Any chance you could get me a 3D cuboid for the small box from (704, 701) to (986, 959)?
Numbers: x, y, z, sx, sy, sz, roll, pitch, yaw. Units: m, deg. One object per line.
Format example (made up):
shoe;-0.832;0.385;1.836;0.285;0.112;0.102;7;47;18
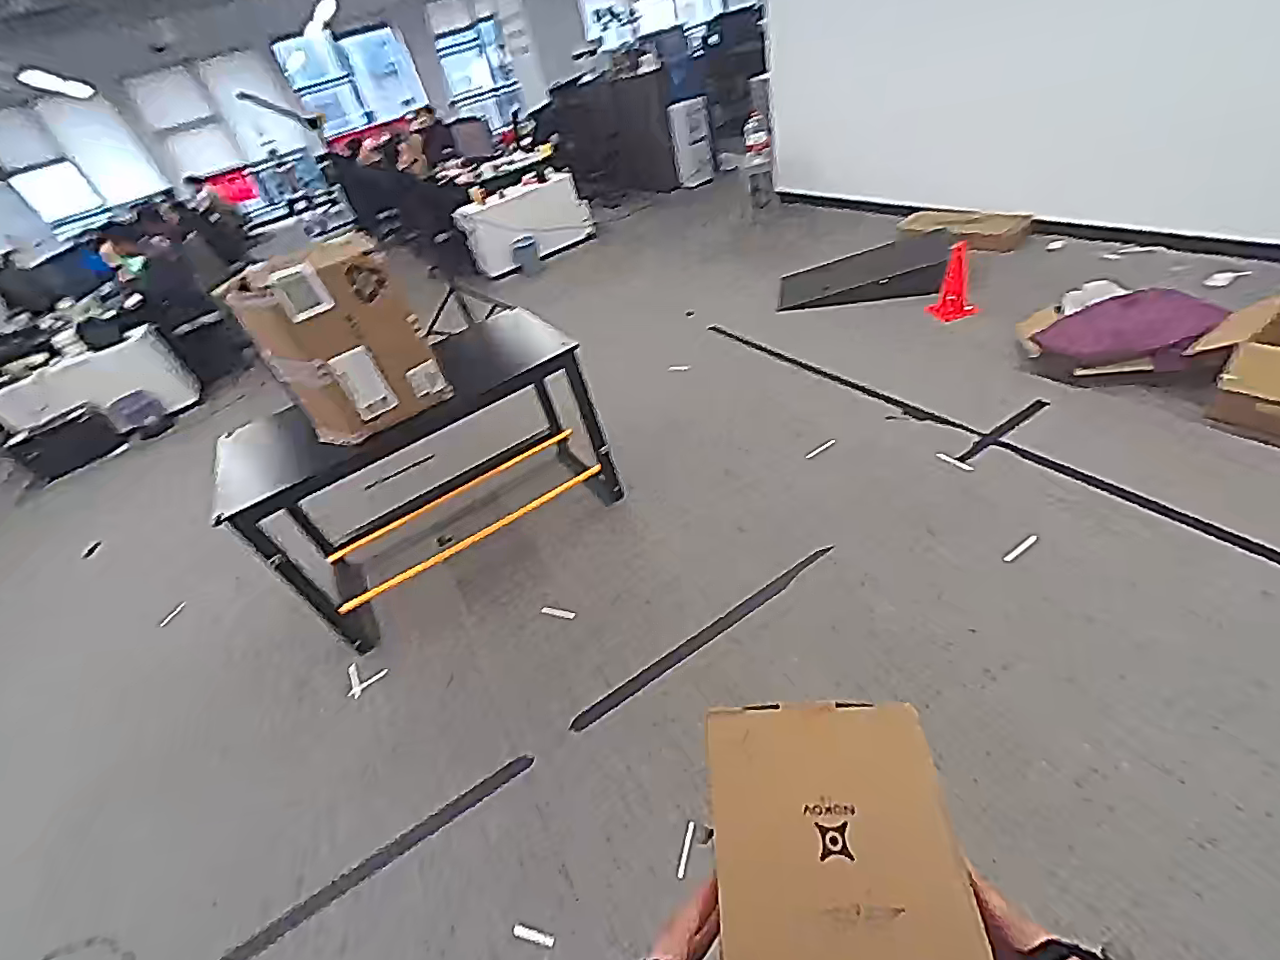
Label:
small box;0.139;0.297;0.440;0.168;0.176;0.179;-4;51;5
